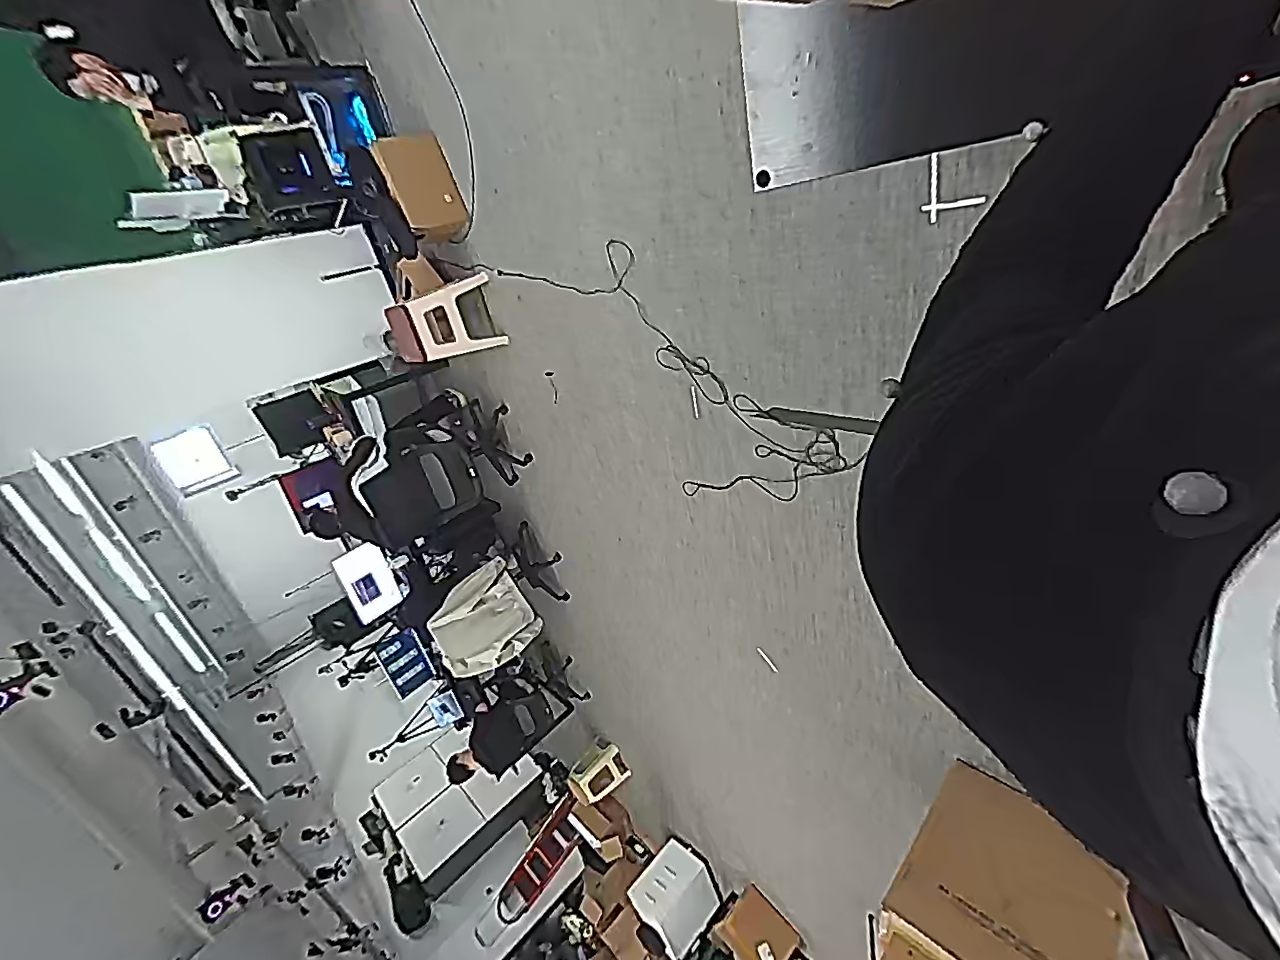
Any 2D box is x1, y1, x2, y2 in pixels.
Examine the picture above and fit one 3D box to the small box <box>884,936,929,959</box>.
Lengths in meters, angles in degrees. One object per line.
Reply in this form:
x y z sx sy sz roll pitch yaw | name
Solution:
0.810 1.537 1.615 0.168 0.176 0.179 17 127 43 | small box
